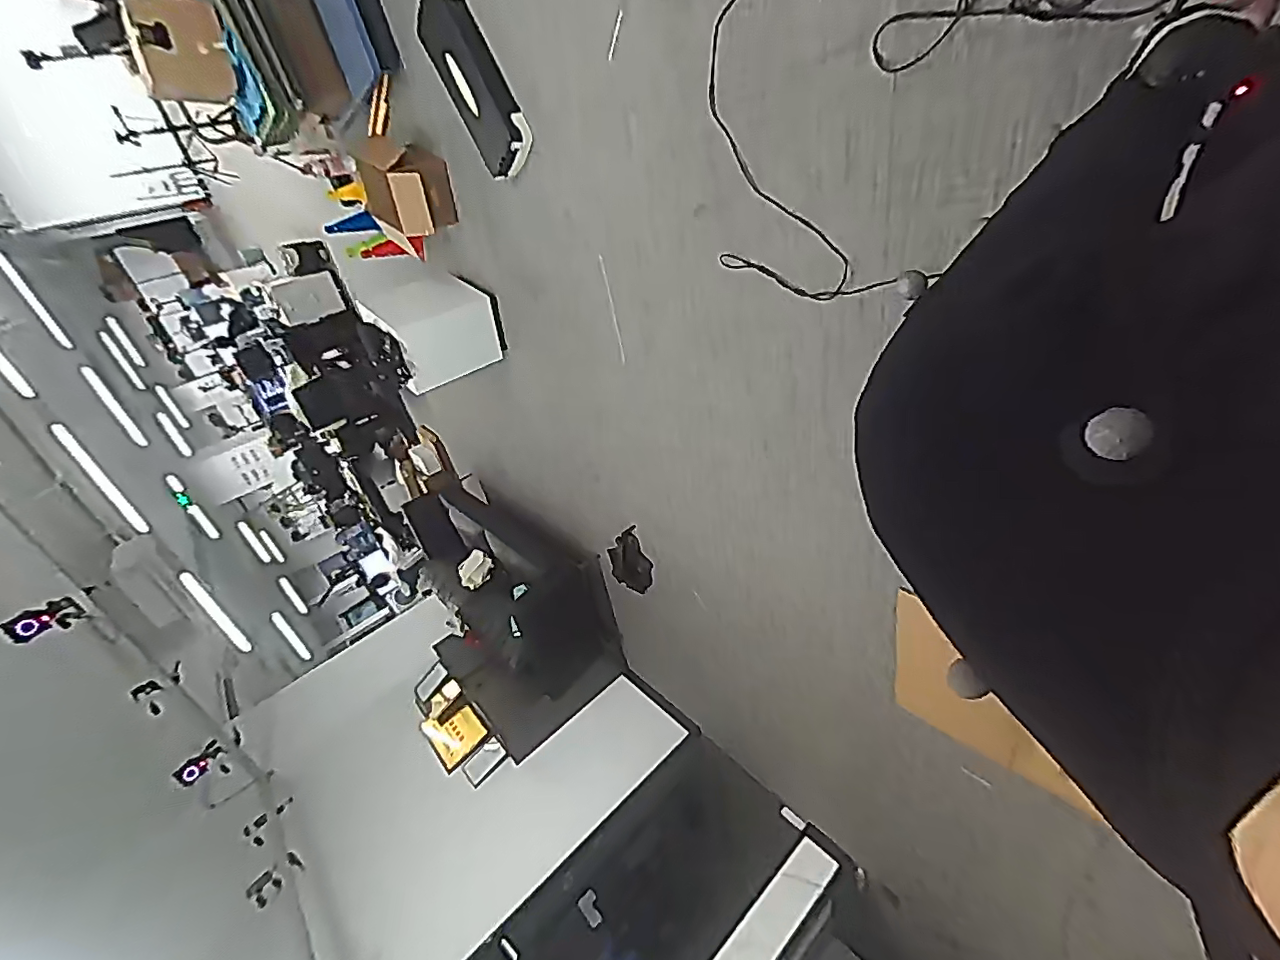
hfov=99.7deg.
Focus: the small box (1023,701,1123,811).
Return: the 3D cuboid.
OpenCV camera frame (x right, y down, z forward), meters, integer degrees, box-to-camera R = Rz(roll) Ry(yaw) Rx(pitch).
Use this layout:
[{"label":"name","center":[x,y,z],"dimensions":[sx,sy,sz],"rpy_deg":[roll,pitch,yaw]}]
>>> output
[{"label":"small box","center":[1.207,0.763,1.507],"dimensions":[0.168,0.176,0.179],"rpy_deg":[22,134,45]}]
